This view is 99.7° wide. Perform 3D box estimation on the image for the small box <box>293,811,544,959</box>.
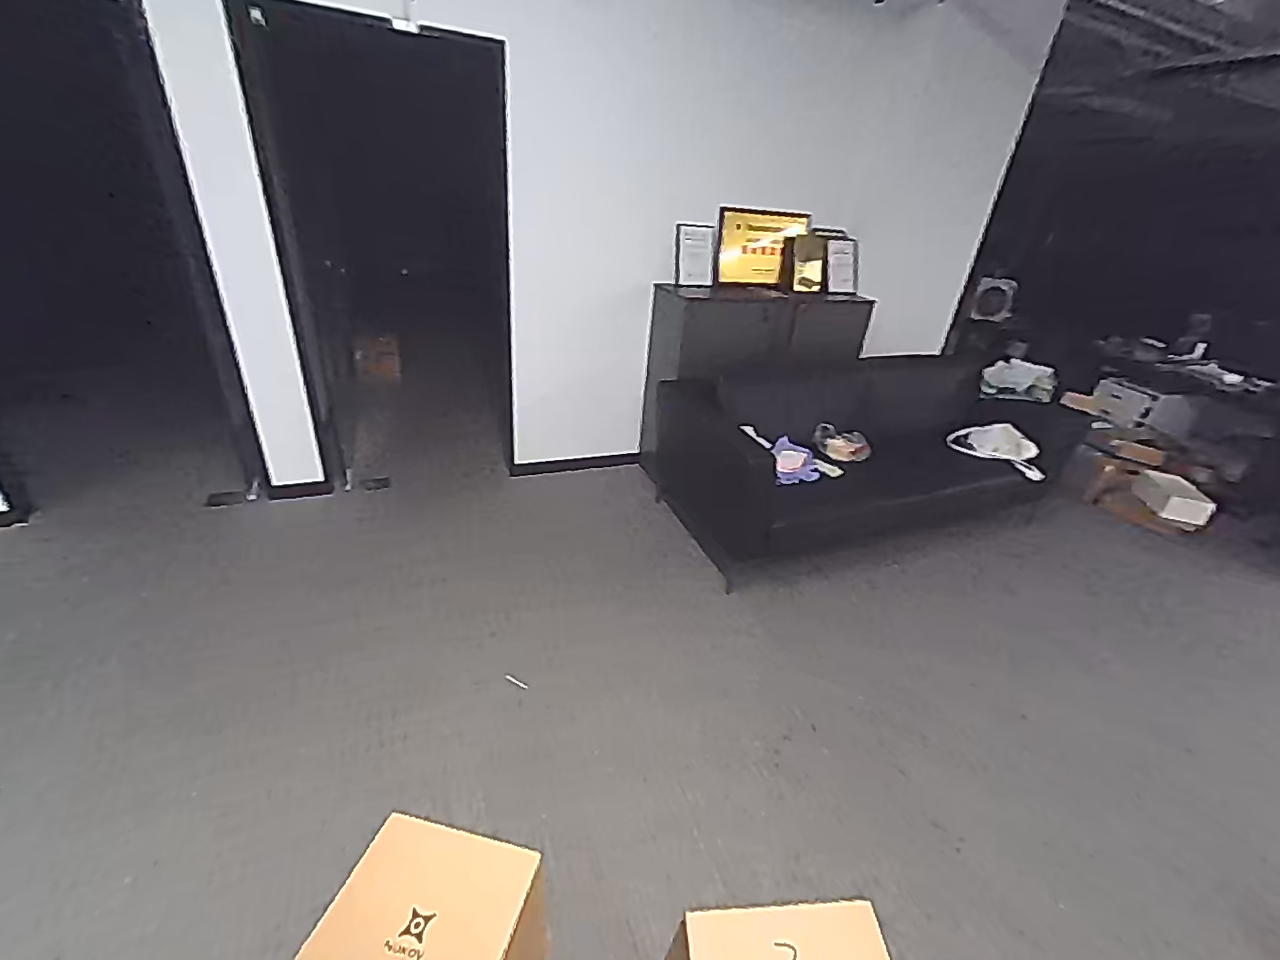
[{"bbox_3d":[-0.197,0.457,0.496,0.168,0.176,0.179,8,27,11],"label":"small box"}]
